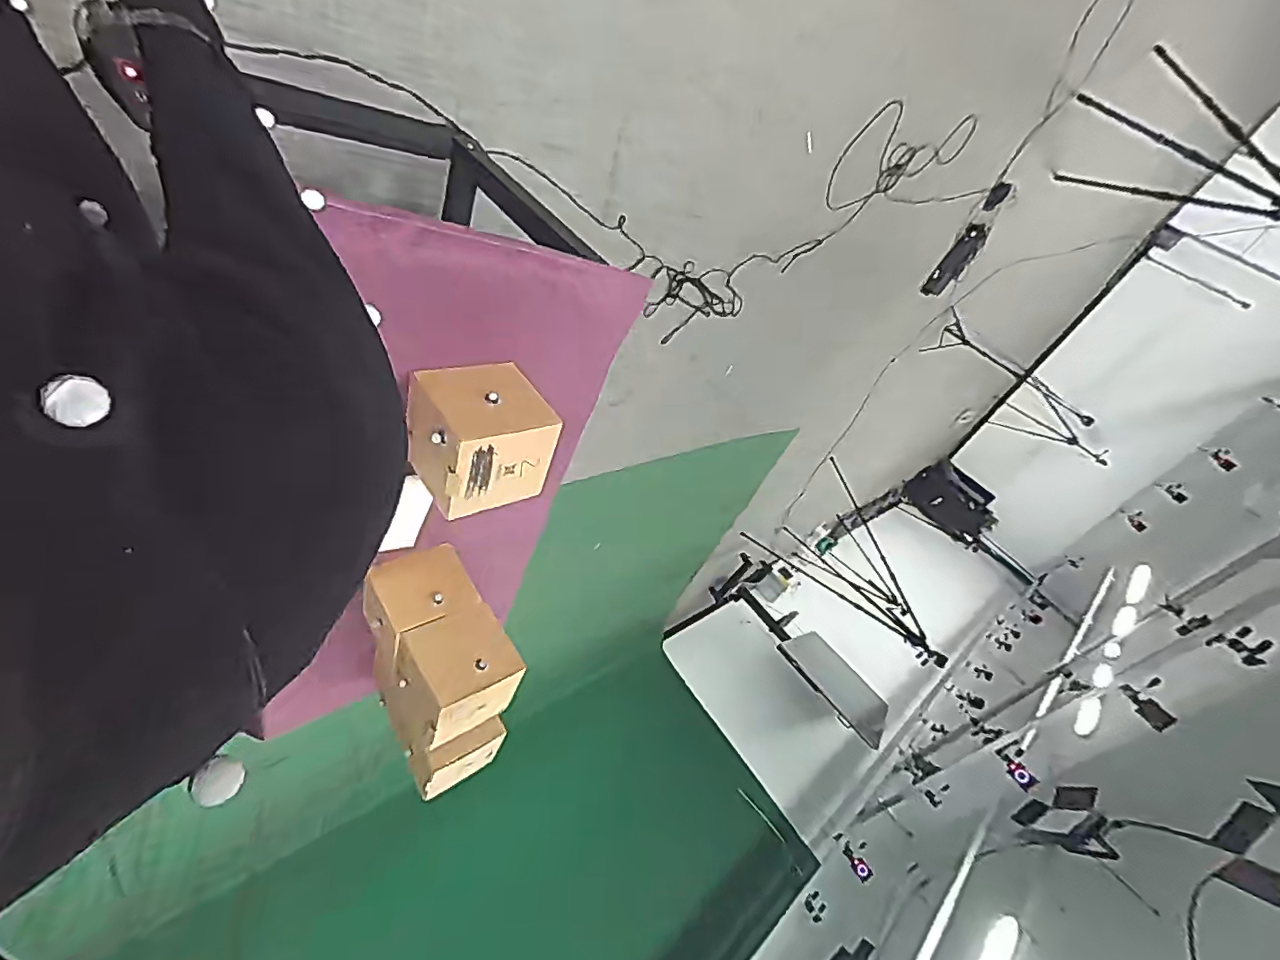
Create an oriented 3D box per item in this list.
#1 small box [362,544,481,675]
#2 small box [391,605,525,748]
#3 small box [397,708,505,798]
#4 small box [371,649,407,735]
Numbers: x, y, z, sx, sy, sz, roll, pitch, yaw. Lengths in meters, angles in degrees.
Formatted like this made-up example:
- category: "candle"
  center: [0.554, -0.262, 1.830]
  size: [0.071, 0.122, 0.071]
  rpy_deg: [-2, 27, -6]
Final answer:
- category: "small box"
  center: [-0.460, 0.262, 1.124]
  size: [0.179, 0.176, 0.168]
  rpy_deg: [-17, 145, -41]
- category: "small box"
  center: [-0.358, 0.373, 1.057]
  size: [0.179, 0.176, 0.168]
  rpy_deg: [-15, 142, -43]
- category: "small box"
  center: [-0.447, 0.589, 1.262]
  size: [0.179, 0.176, 0.168]
  rpy_deg: [-14, 143, -42]
- category: "small box"
  center: [-0.546, 0.483, 1.339]
  size: [0.179, 0.176, 0.168]
  rpy_deg: [-14, 143, -43]
